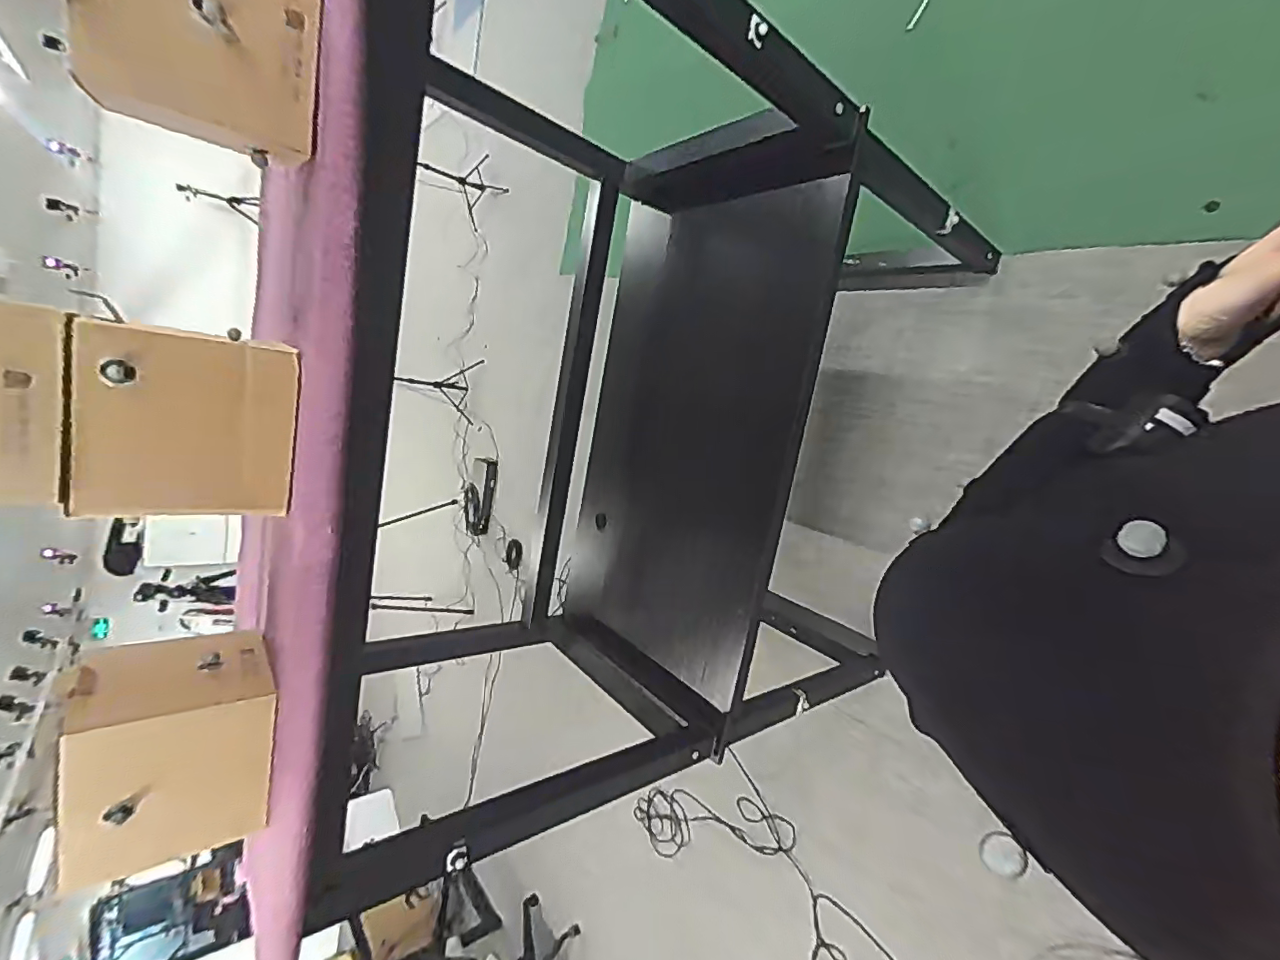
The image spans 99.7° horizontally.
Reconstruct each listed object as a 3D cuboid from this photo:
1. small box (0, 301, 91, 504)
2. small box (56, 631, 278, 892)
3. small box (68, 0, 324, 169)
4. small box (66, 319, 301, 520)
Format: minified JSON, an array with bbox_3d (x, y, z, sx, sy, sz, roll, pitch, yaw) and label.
[{"bbox_3d":[-0.590,-0.076,0.466,0.179,0.176,0.168,18,100,51],"label":"small box"},{"bbox_3d":[-0.519,0.293,0.609,0.168,0.176,0.179,19,102,47],"label":"small box"},{"bbox_3d":[-0.408,-0.416,0.512,0.179,0.176,0.168,31,113,48],"label":"small box"},{"bbox_3d":[-0.466,-0.064,0.570,0.168,0.176,0.179,21,104,49],"label":"small box"}]
